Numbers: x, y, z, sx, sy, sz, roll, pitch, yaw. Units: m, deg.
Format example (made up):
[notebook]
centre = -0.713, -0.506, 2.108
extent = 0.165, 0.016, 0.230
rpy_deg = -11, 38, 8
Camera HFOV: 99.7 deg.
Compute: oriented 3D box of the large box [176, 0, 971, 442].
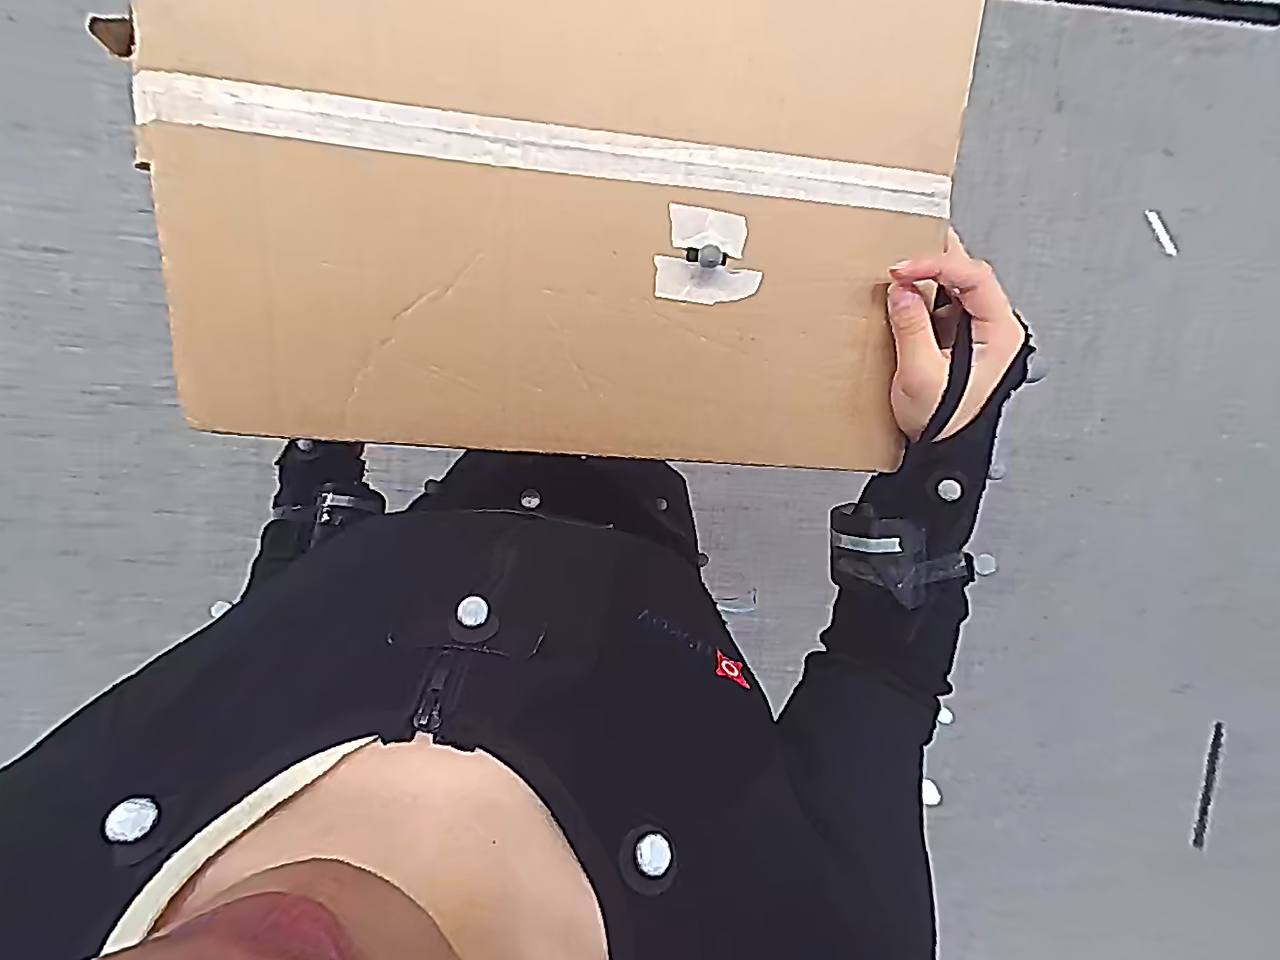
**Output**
[large box]
centre = -0.044, -0.210, 0.430
extent = 0.408, 0.320, 0.320
rpy_deg = 3, 103, -9
